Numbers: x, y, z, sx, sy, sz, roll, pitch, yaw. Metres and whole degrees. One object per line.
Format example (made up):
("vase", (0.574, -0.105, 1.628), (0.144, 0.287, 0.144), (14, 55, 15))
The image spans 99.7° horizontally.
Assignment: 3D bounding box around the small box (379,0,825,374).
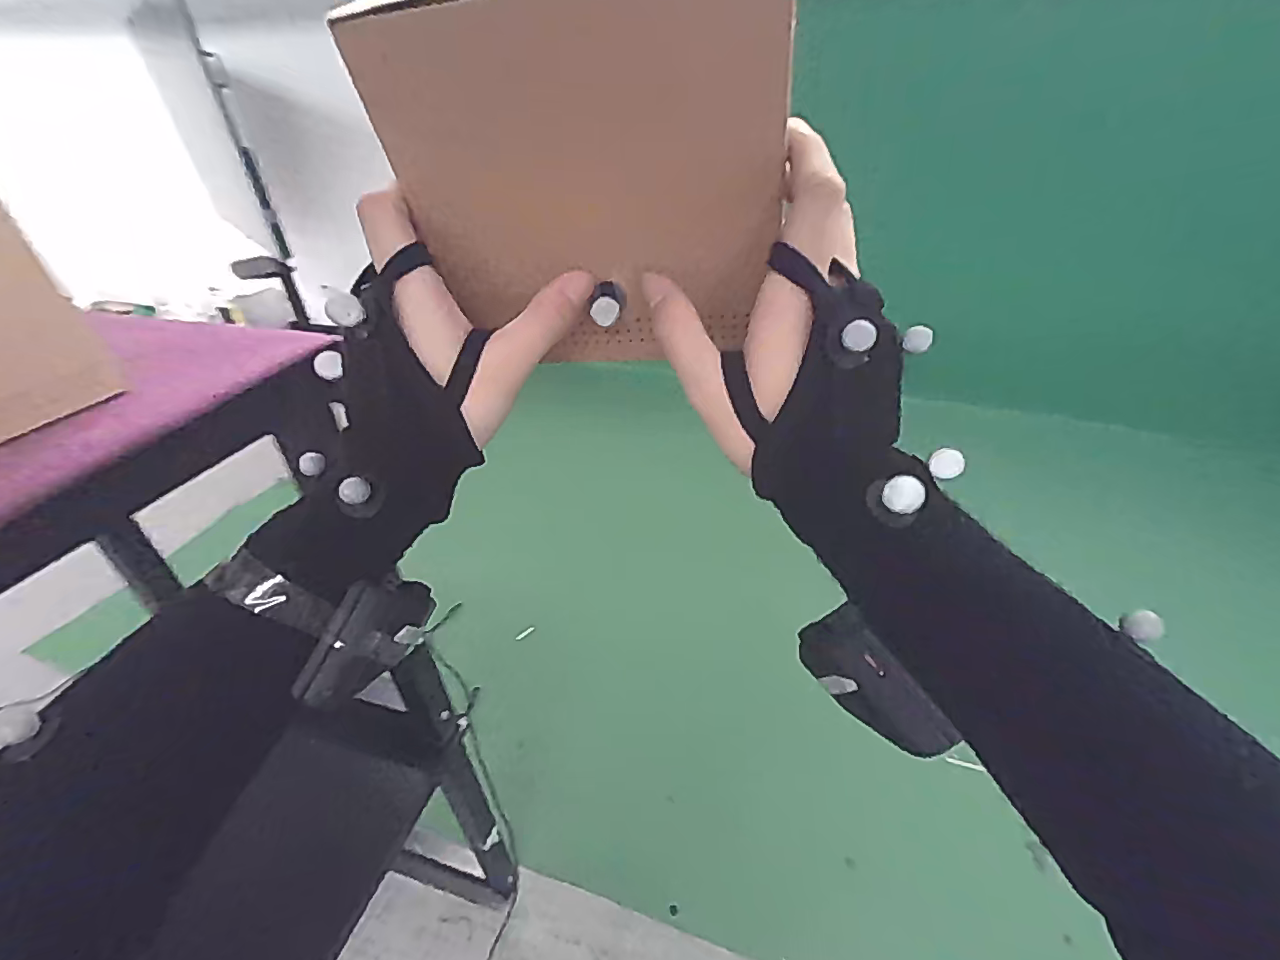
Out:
("small box", (0.000, -0.175, 0.313), (0.179, 0.176, 0.168), (1, 49, 11))
